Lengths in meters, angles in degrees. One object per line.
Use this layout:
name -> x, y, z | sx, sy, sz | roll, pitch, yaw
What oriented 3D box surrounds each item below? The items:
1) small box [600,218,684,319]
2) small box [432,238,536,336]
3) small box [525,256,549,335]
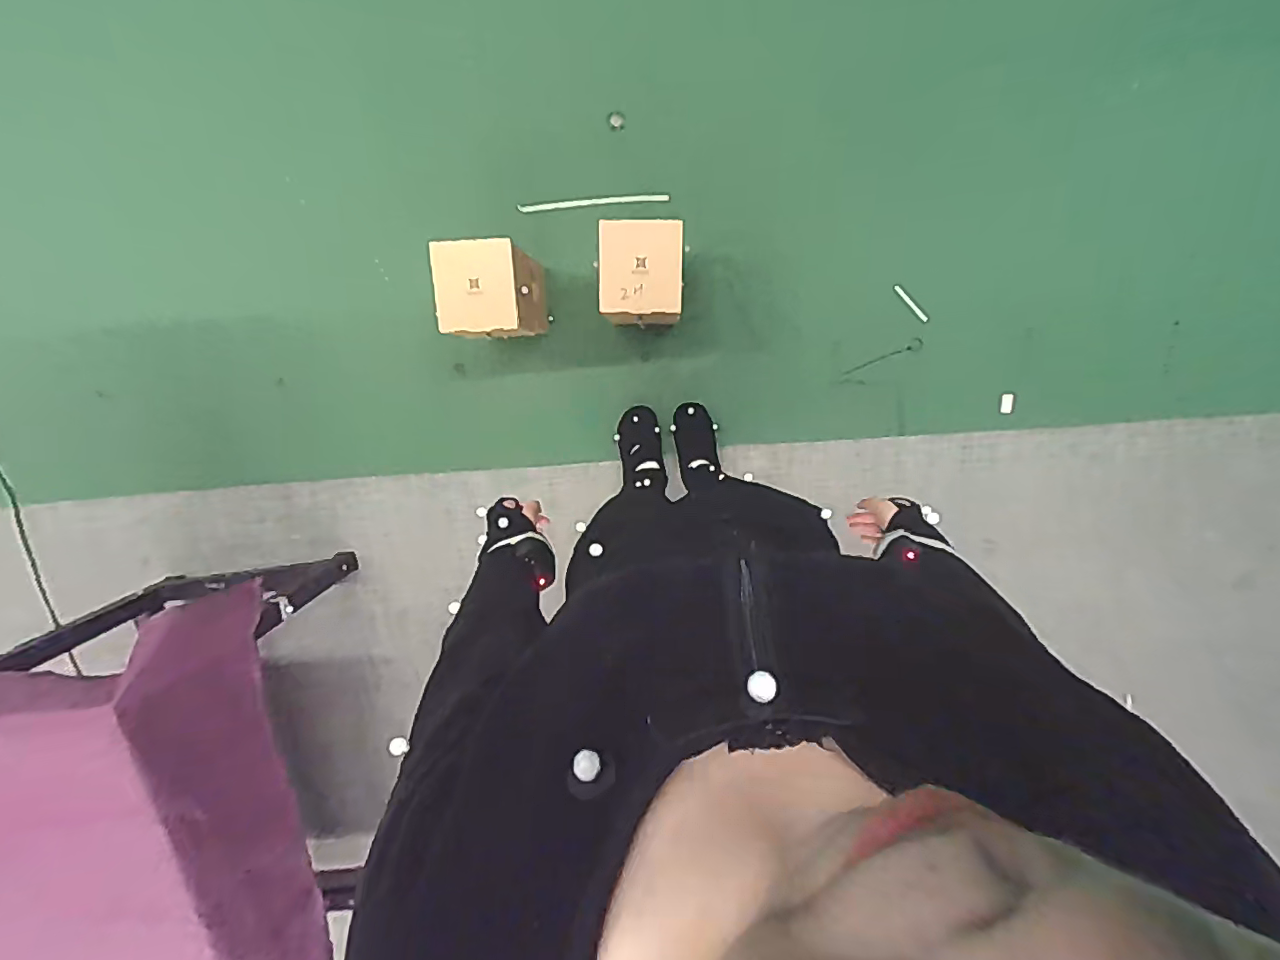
small box -> 0.004, -0.438, 1.142 | 0.168, 0.176, 0.179 | 1, 103, 2
small box -> -0.327, -0.406, 1.161 | 0.168, 0.176, 0.179 | -2, 103, 2
small box -> -0.323, -0.444, 1.320 | 0.179, 0.176, 0.168 | -2, 102, 3
